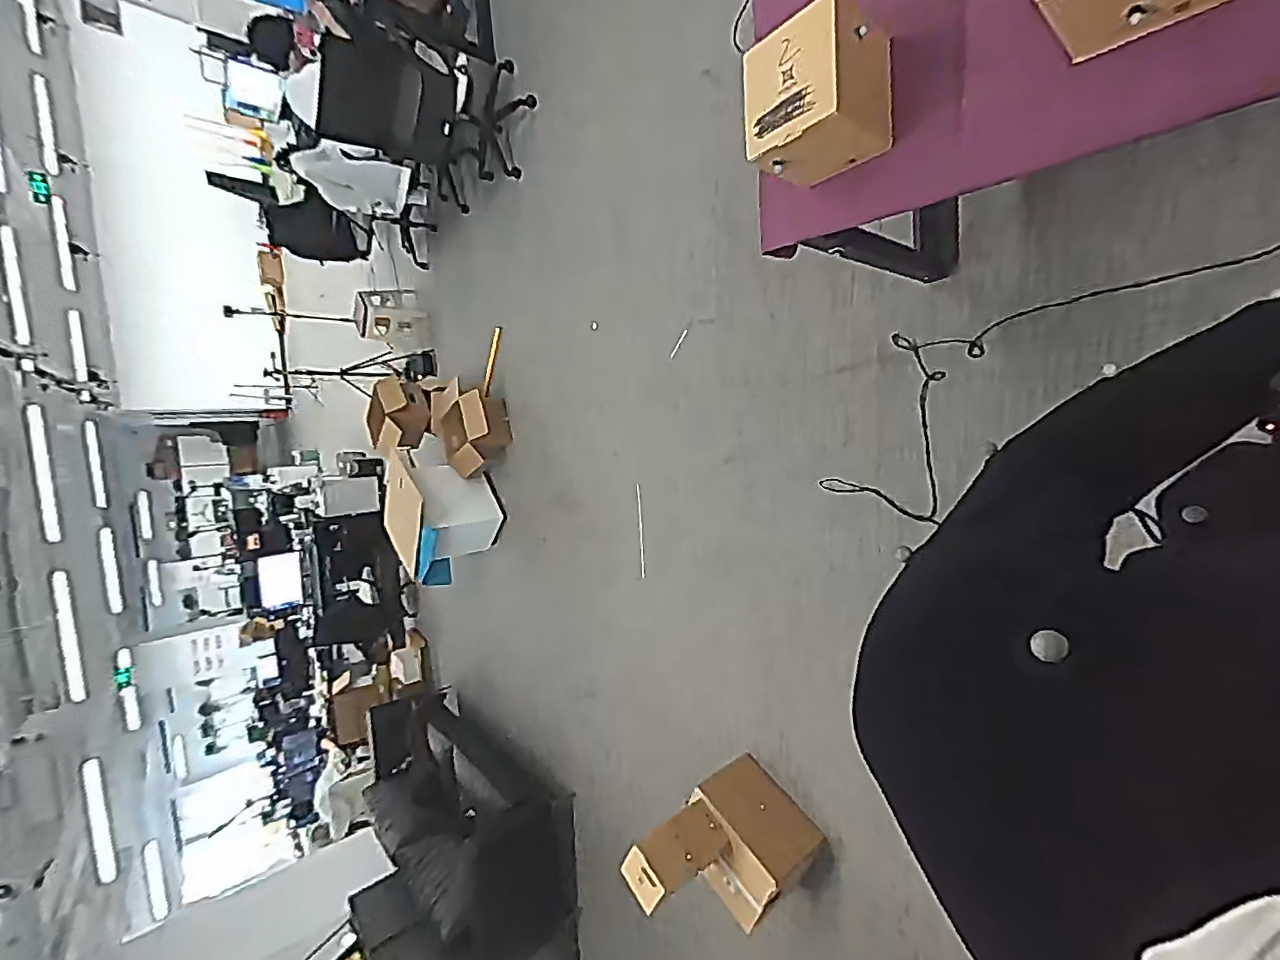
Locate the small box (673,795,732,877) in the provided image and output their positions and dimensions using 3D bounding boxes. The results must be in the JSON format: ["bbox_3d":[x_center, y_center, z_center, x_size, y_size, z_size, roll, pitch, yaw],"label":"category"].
[{"bbox_3d":[0.208,1.300,1.970,0.168,0.176,0.179,42,125,37],"label":"small box"}]

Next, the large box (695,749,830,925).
[{"bbox_3d":[0.440,1.349,2.085,0.408,0.320,0.320,35,122,40],"label":"large box"}]

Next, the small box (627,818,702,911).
[{"bbox_3d":[0.088,1.313,1.859,0.168,0.176,0.179,42,126,37],"label":"small box"}]

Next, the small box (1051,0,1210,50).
[{"bbox_3d":[0.544,-0.617,0.572,0.168,0.176,0.179,5,100,49],"label":"small box"}]
